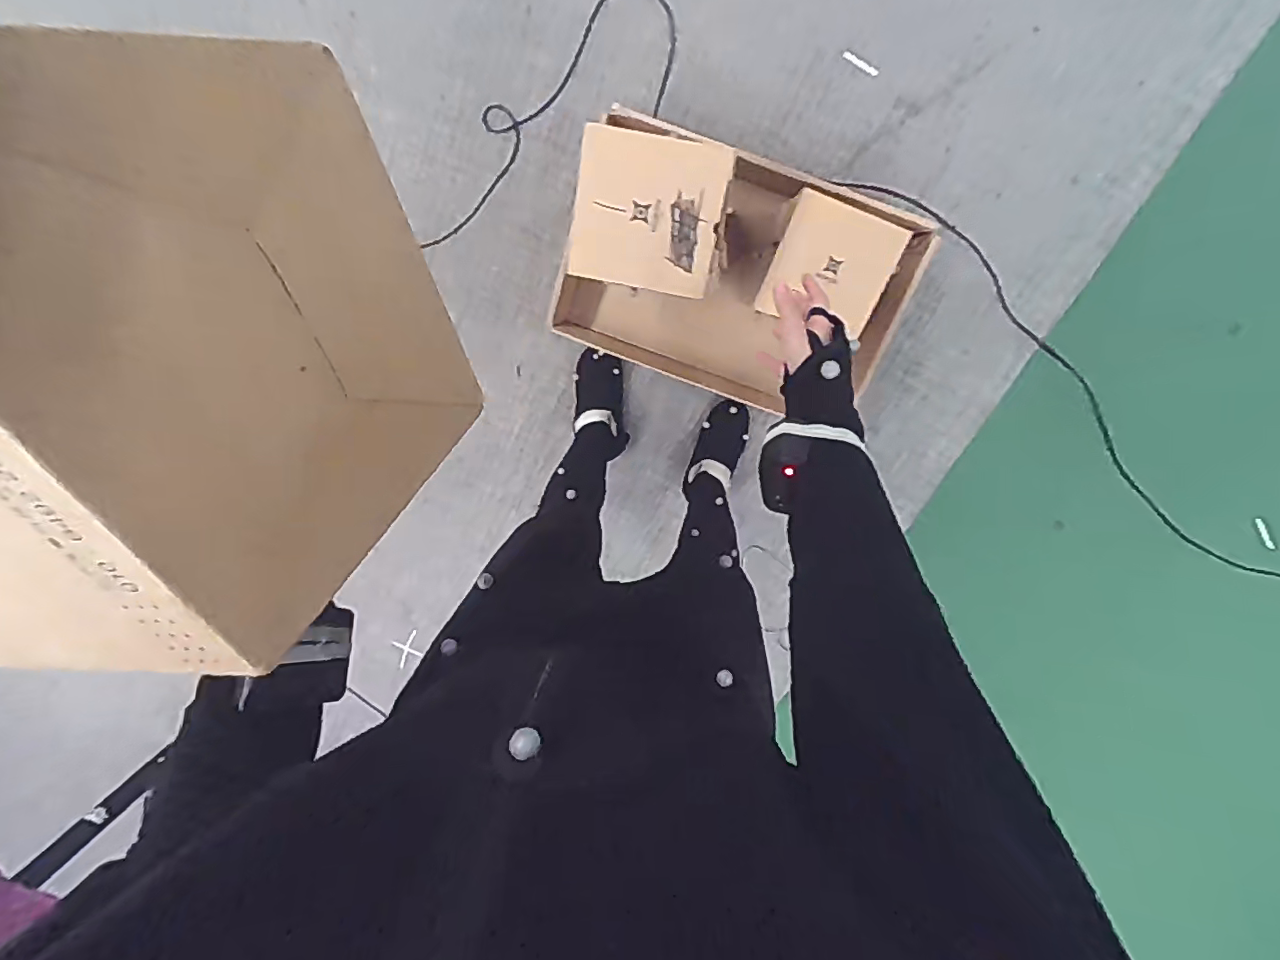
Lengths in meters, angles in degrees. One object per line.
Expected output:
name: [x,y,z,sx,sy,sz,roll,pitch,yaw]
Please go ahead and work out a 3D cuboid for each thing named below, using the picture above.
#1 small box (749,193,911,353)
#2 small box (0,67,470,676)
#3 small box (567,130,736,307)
small box: [0.283,-0.322,0.857,0.168,0.176,0.179,22,111,-1]
small box: [-0.203,-0.043,0.218,0.176,0.179,0.168,-5,126,17]
small box: [0.016,-0.333,0.710,0.179,0.176,0.168,12,111,1]
